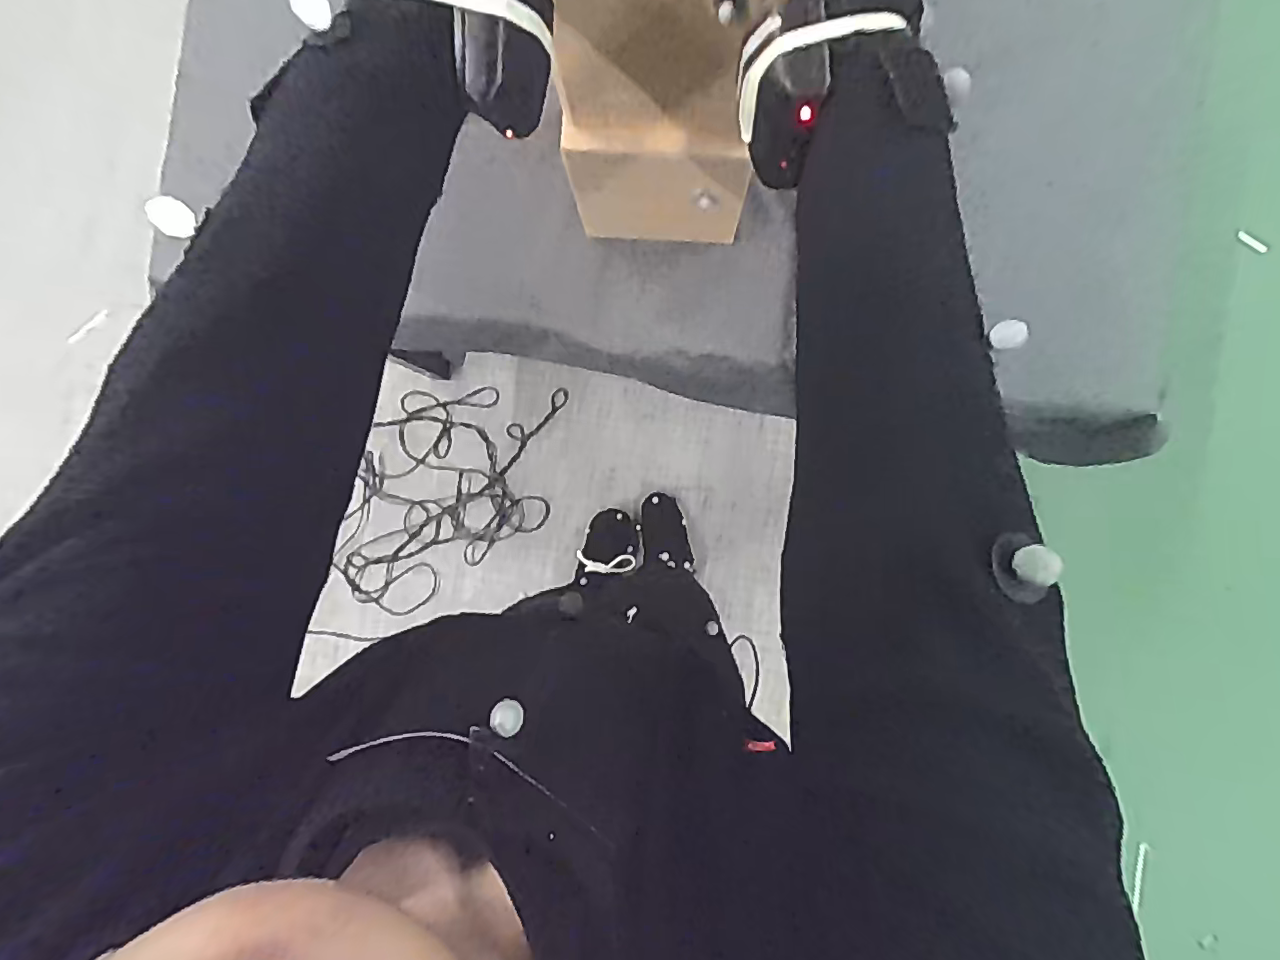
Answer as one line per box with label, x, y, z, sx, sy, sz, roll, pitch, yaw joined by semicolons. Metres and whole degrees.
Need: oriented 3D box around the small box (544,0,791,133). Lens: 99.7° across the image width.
small box;0.024;-0.389;0.395;0.179;0.176;0.168;7;89;2
